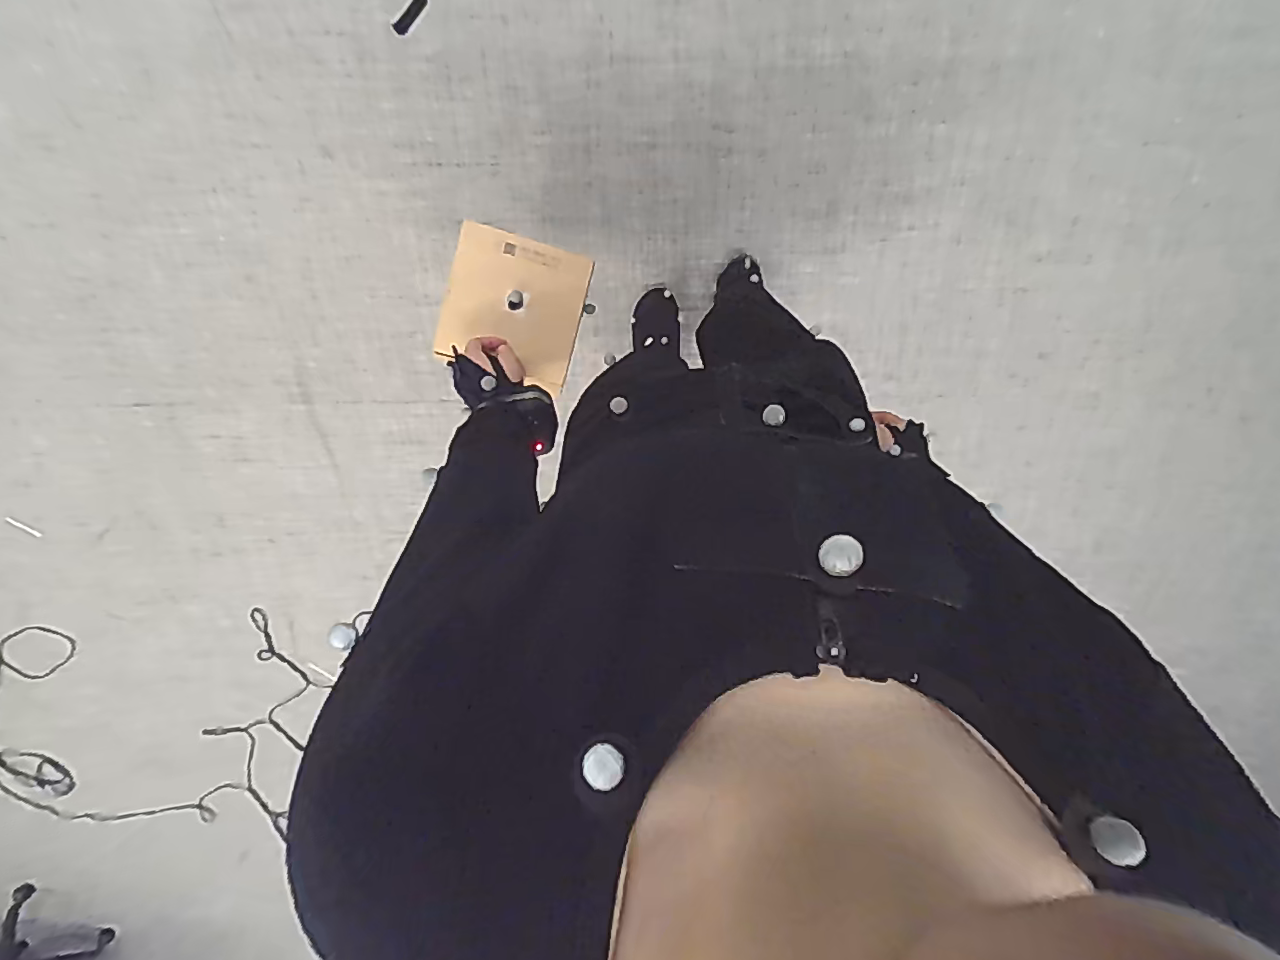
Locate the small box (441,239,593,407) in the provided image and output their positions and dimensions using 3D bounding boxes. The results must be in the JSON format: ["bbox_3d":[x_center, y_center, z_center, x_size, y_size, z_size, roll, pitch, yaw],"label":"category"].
[{"bbox_3d":[-0.165,-0.211,0.761,0.168,0.179,0.176,13,89,-9],"label":"small box"}]
